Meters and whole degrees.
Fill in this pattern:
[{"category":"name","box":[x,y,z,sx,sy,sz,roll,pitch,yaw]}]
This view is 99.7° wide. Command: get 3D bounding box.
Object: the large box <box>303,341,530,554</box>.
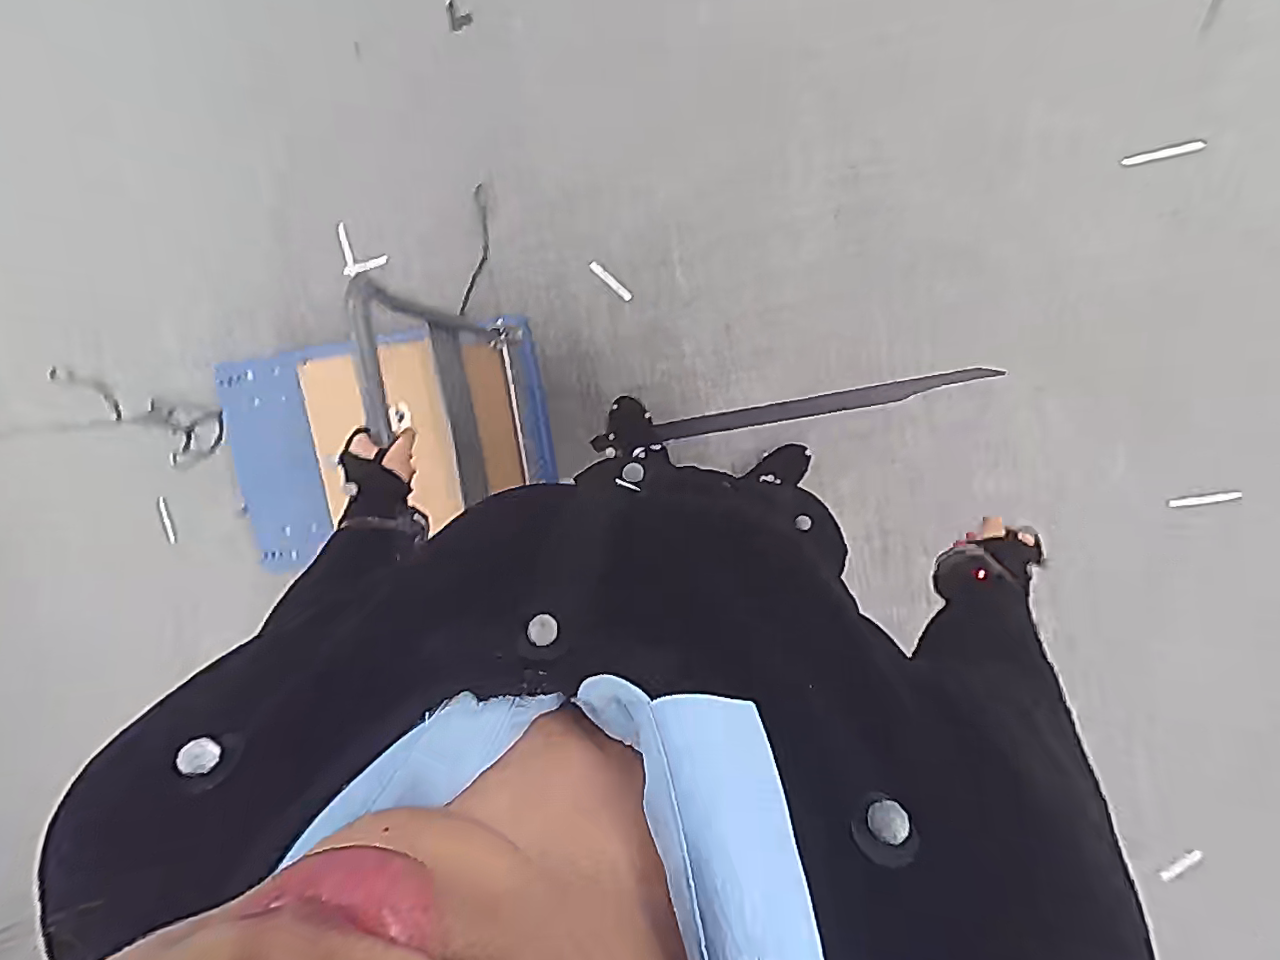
[{"category":"large box","box":[-0.479,-0.077,1.237,0.320,0.320,0.408,-8,98,8]}]
